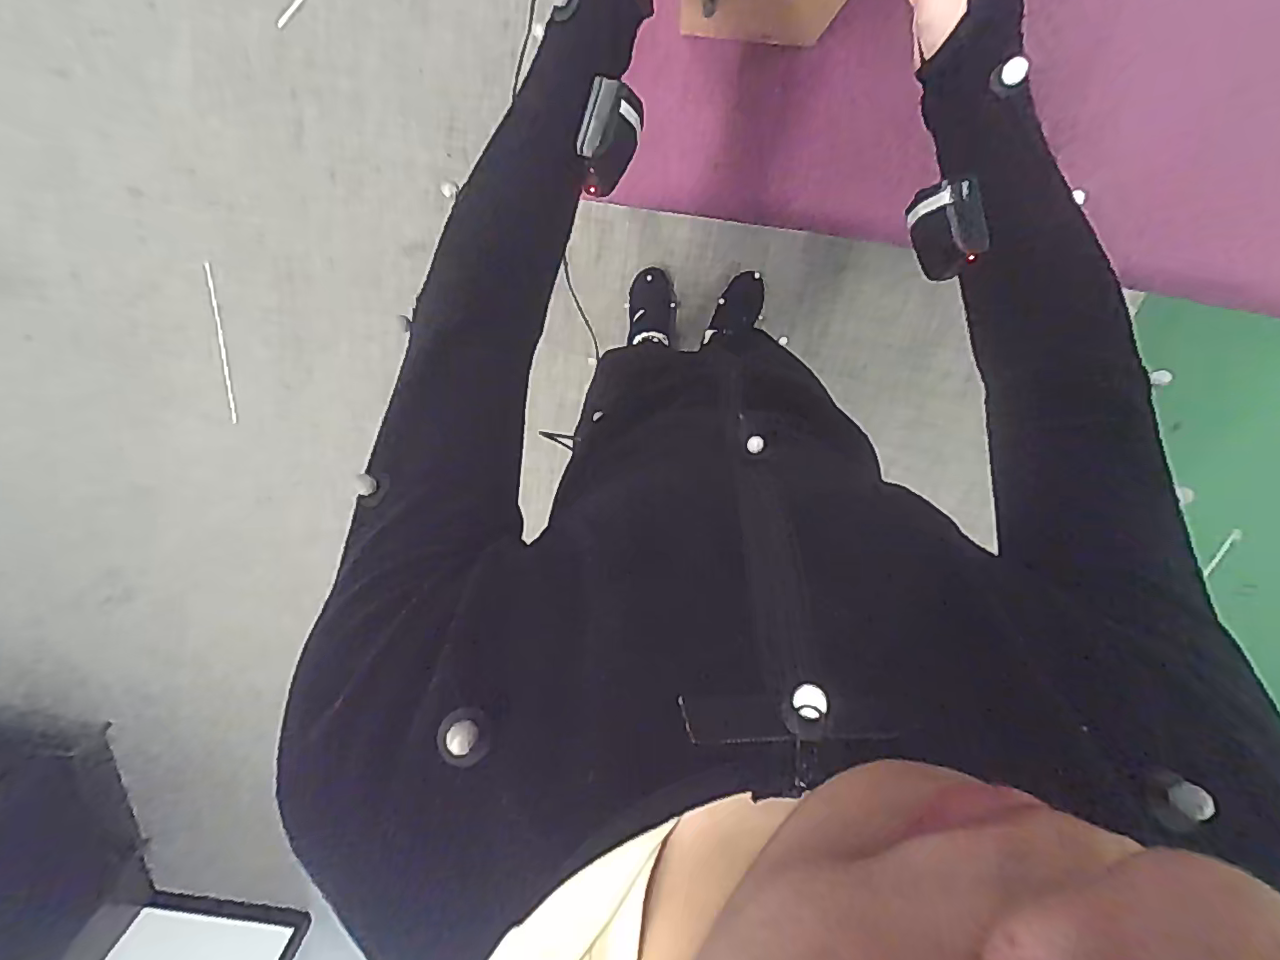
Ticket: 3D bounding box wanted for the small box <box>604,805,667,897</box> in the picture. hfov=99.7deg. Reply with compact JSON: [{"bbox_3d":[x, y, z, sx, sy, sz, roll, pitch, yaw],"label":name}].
[{"bbox_3d":[-0.013,1.156,1.692,0.168,0.176,0.179,10,116,-2],"label":"small box"}]
